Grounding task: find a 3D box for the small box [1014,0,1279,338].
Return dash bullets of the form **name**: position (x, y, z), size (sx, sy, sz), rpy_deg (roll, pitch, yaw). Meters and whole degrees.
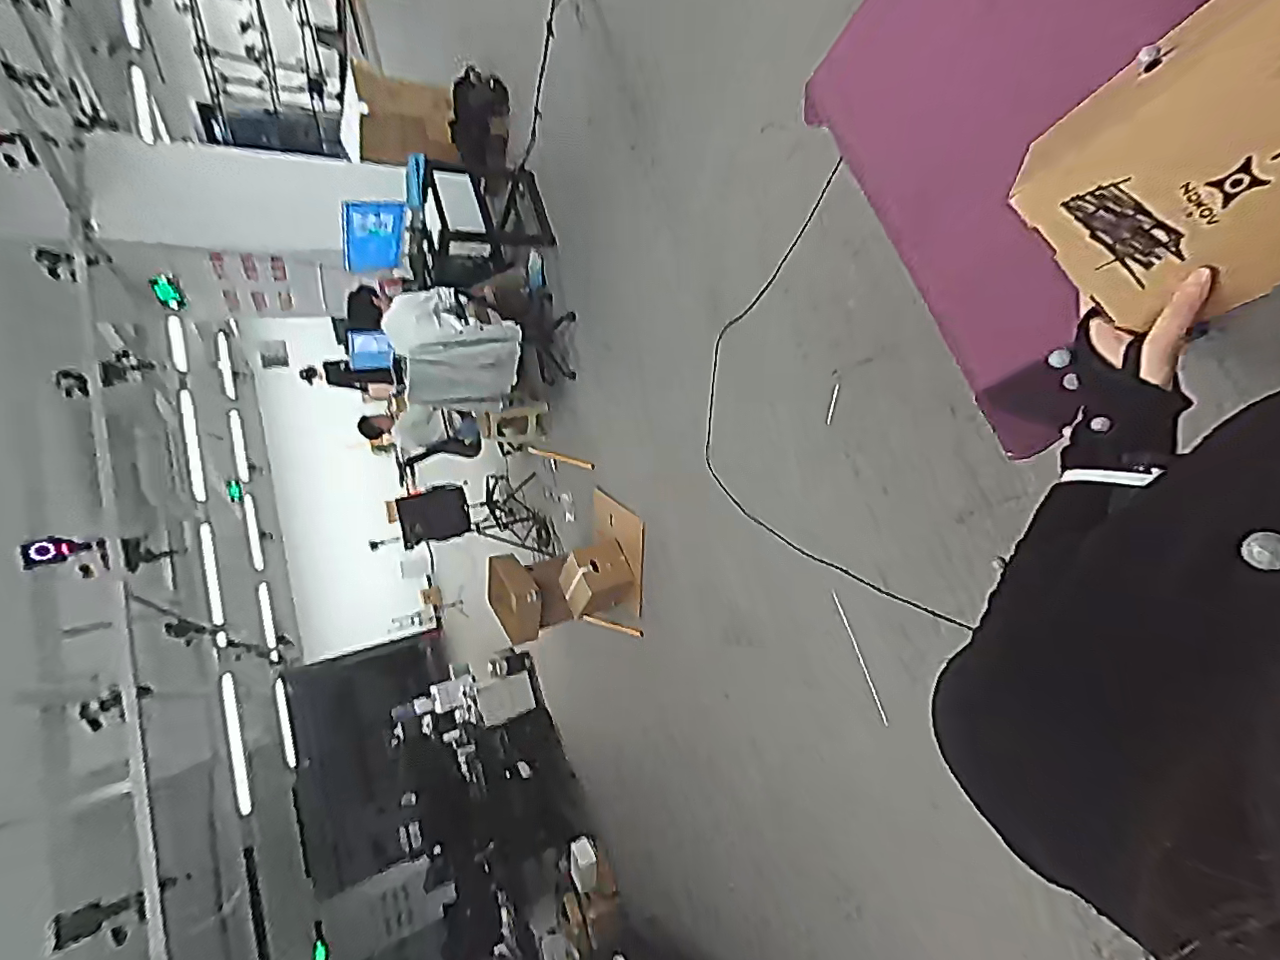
- **small box**: position (0.427, -0.248, 0.405), size (0.168, 0.176, 0.179), rpy_deg (45, 143, -7)
